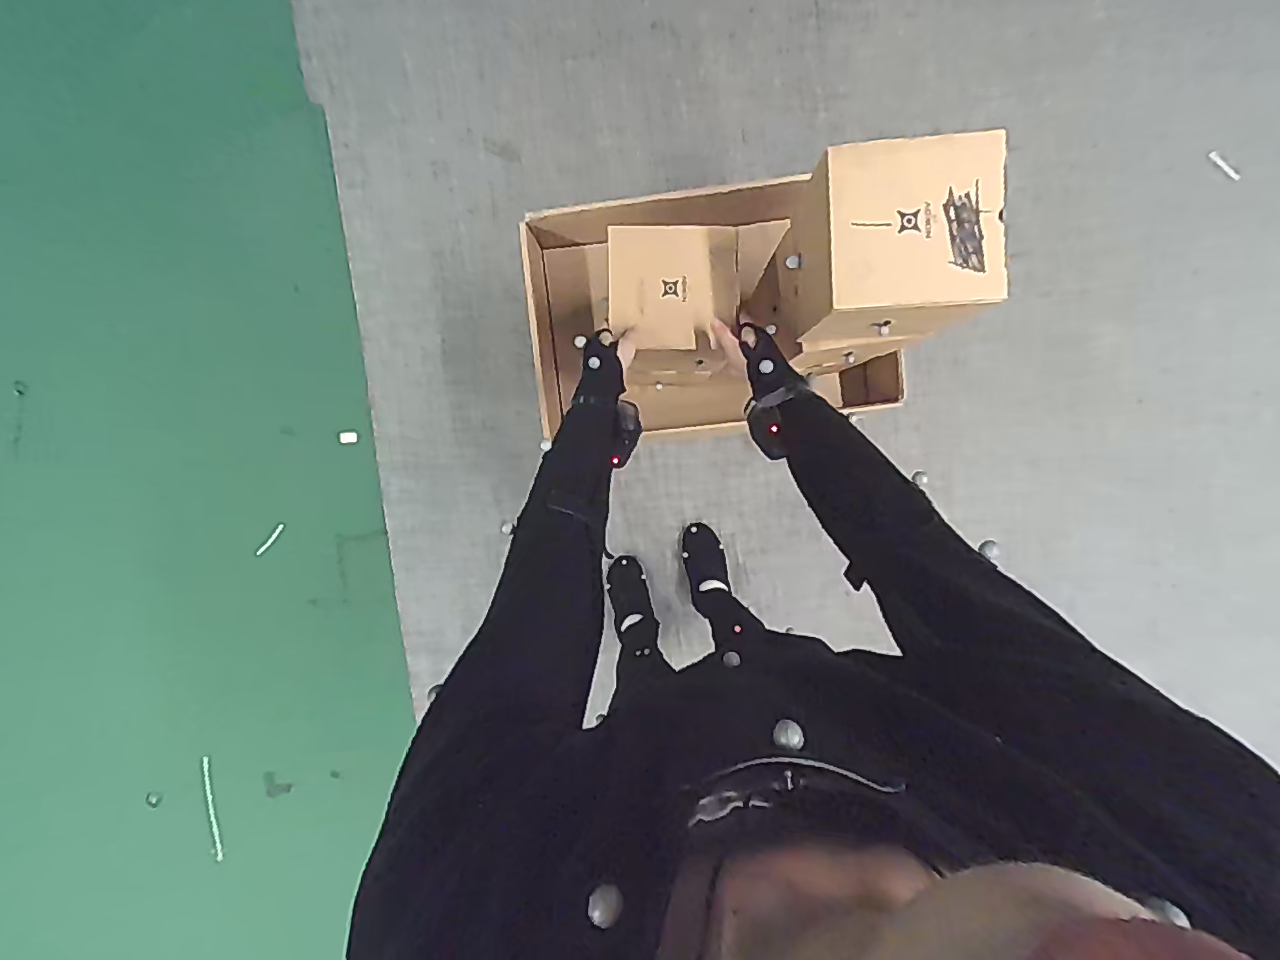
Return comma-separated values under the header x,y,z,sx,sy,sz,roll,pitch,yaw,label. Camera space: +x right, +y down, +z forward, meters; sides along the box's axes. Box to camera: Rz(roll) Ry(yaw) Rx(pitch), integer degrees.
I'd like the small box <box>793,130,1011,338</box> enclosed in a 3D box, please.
x,y,z,sx,sy,sz,roll,pitch,yaw,label
0.282,-0.262,0.615,0.179,0.176,0.168,-2,93,4,small box

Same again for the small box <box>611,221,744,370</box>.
x,y,z,sx,sy,sz,roll,pitch,yaw,label
0.048,-0.259,0.791,0.179,0.176,0.168,0,91,0,small box
